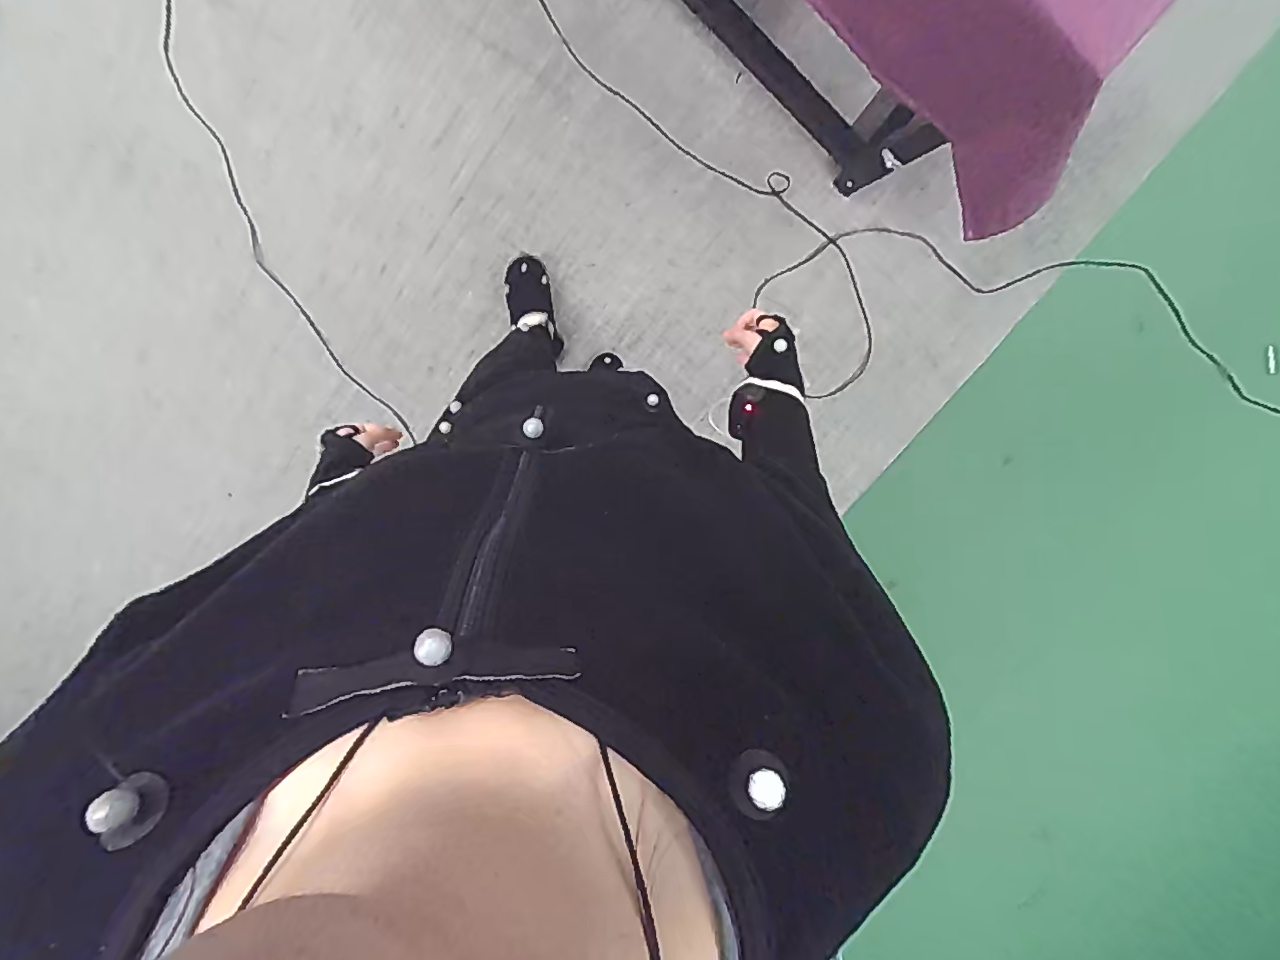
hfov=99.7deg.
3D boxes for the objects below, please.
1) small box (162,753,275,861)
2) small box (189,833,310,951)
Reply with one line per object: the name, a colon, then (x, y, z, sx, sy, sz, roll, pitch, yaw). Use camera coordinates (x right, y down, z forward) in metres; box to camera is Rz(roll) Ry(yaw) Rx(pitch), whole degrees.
small box: (-1.224, 0.953, 1.585, 0.168, 0.176, 0.179, 39, 99, -14)
small box: (-1.052, 1.109, 1.470, 0.179, 0.176, 0.168, 35, 100, -12)
